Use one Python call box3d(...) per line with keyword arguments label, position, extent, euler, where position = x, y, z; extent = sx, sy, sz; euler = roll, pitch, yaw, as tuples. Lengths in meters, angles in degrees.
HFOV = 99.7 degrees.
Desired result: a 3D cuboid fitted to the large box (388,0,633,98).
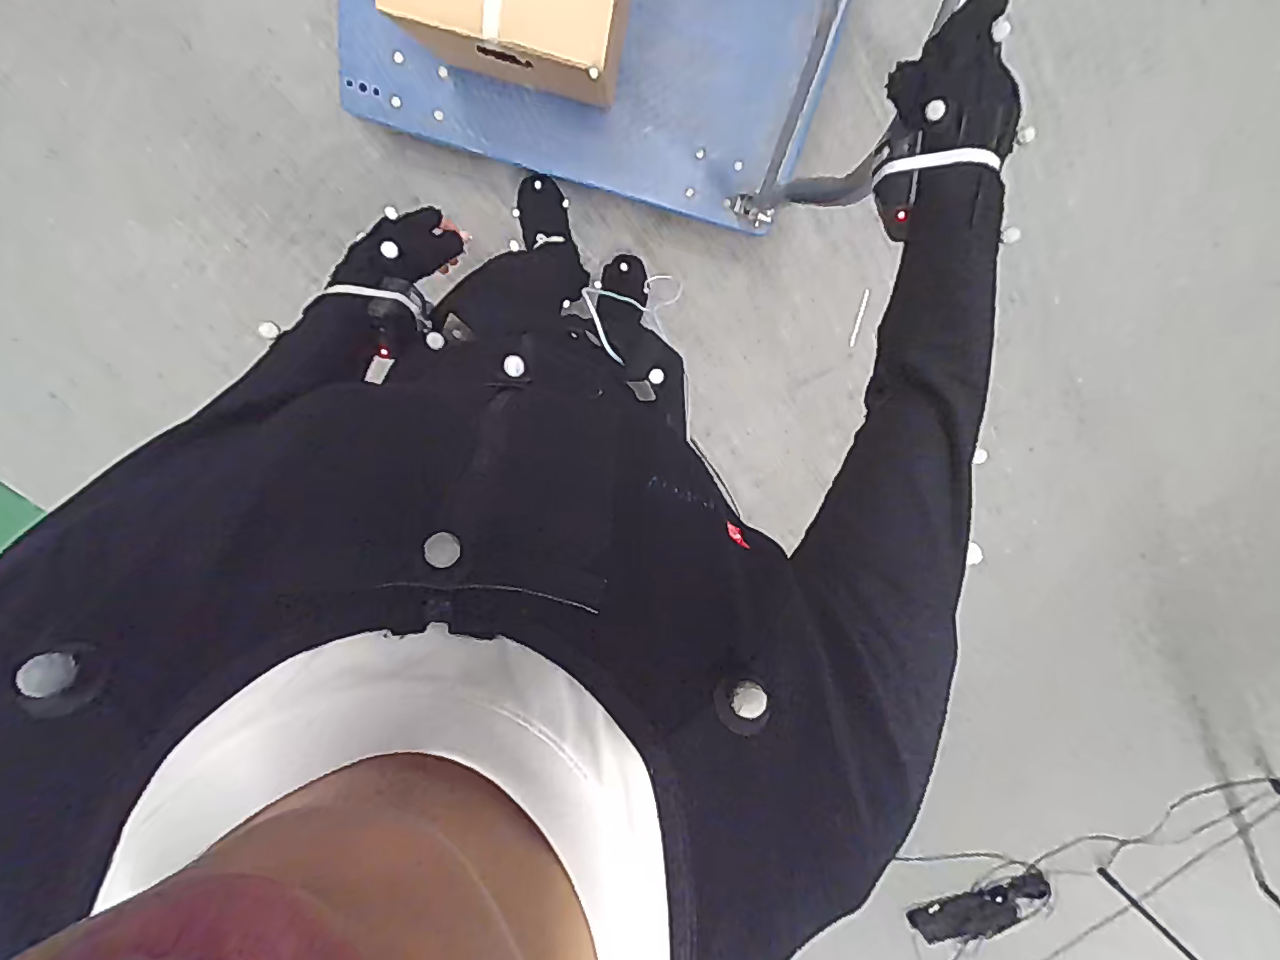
box3d(label="large box", position=(-0.151, -0.850, 0.784), extent=(0.320, 0.320, 0.408), euler=(12, 117, -4))
